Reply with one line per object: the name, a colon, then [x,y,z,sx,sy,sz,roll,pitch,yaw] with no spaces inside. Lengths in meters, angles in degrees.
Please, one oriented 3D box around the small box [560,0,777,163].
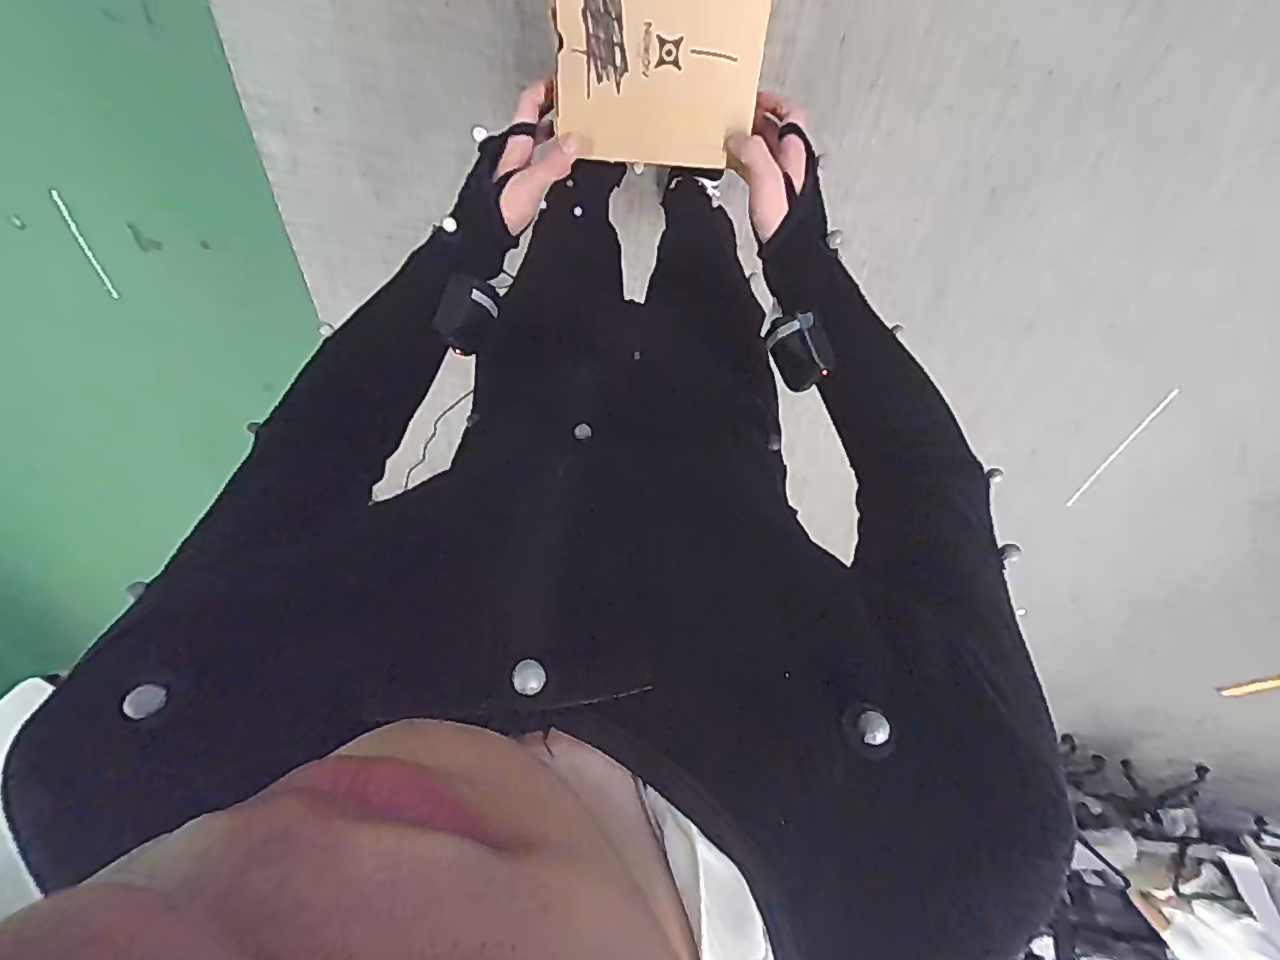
small box: [0.021,-0.409,0.510,0.179,0.176,0.168,3,127,-3]
